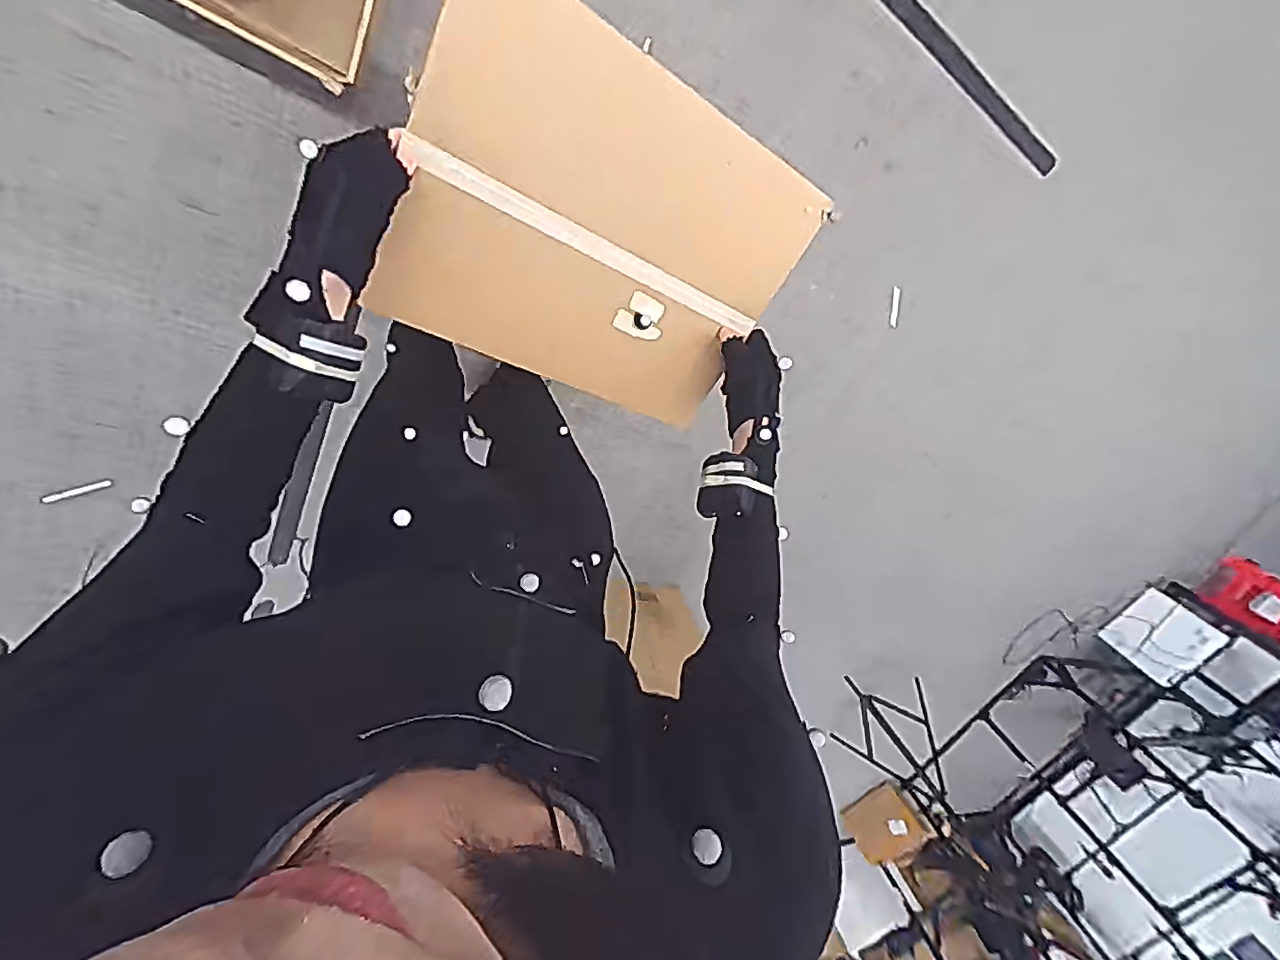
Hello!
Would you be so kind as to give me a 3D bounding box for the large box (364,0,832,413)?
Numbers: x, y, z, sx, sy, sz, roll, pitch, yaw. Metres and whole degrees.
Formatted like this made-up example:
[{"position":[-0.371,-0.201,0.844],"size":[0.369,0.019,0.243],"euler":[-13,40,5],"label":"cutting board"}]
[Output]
[{"position":[-0.072,-0.337,0.655],"size":[0.408,0.320,0.320],"euler":[16,123,-31],"label":"large box"}]
